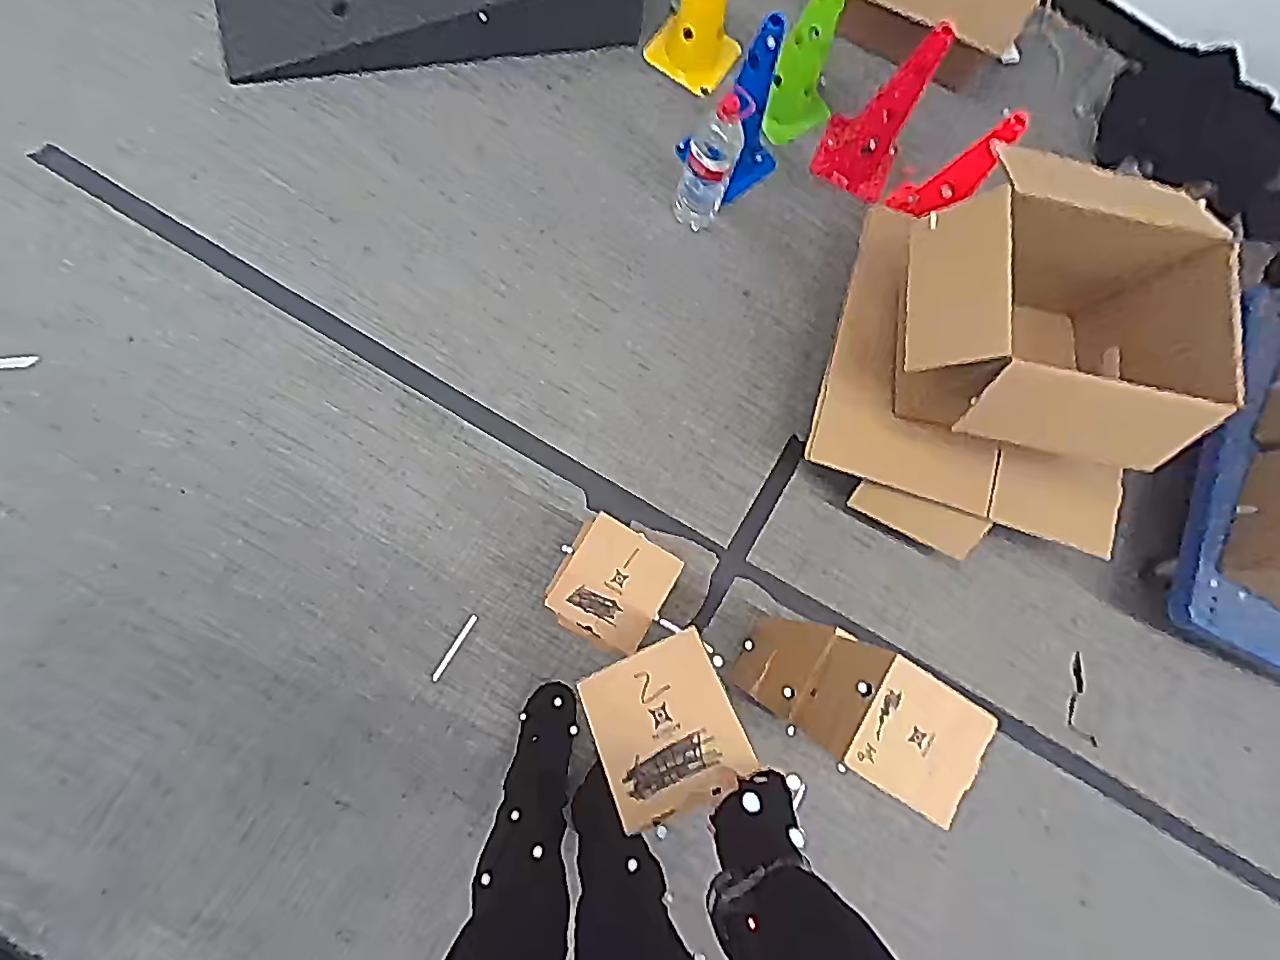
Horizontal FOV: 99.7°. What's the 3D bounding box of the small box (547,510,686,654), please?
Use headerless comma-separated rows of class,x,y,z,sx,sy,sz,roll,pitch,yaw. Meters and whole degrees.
small box,-0.044,0.175,0.944,0.168,0.176,0.179,32,78,-2

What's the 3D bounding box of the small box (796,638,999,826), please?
small box,0.371,0.358,0.807,0.179,0.176,0.168,34,80,-3

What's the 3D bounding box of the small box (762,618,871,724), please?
small box,0.344,0.367,0.969,0.168,0.176,0.179,32,80,-3

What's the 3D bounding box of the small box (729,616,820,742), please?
small box,0.316,0.400,1.125,0.179,0.176,0.168,36,79,-2

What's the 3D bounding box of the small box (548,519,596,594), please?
small box,-0.070,0.195,1.105,0.179,0.176,0.168,29,78,-1
